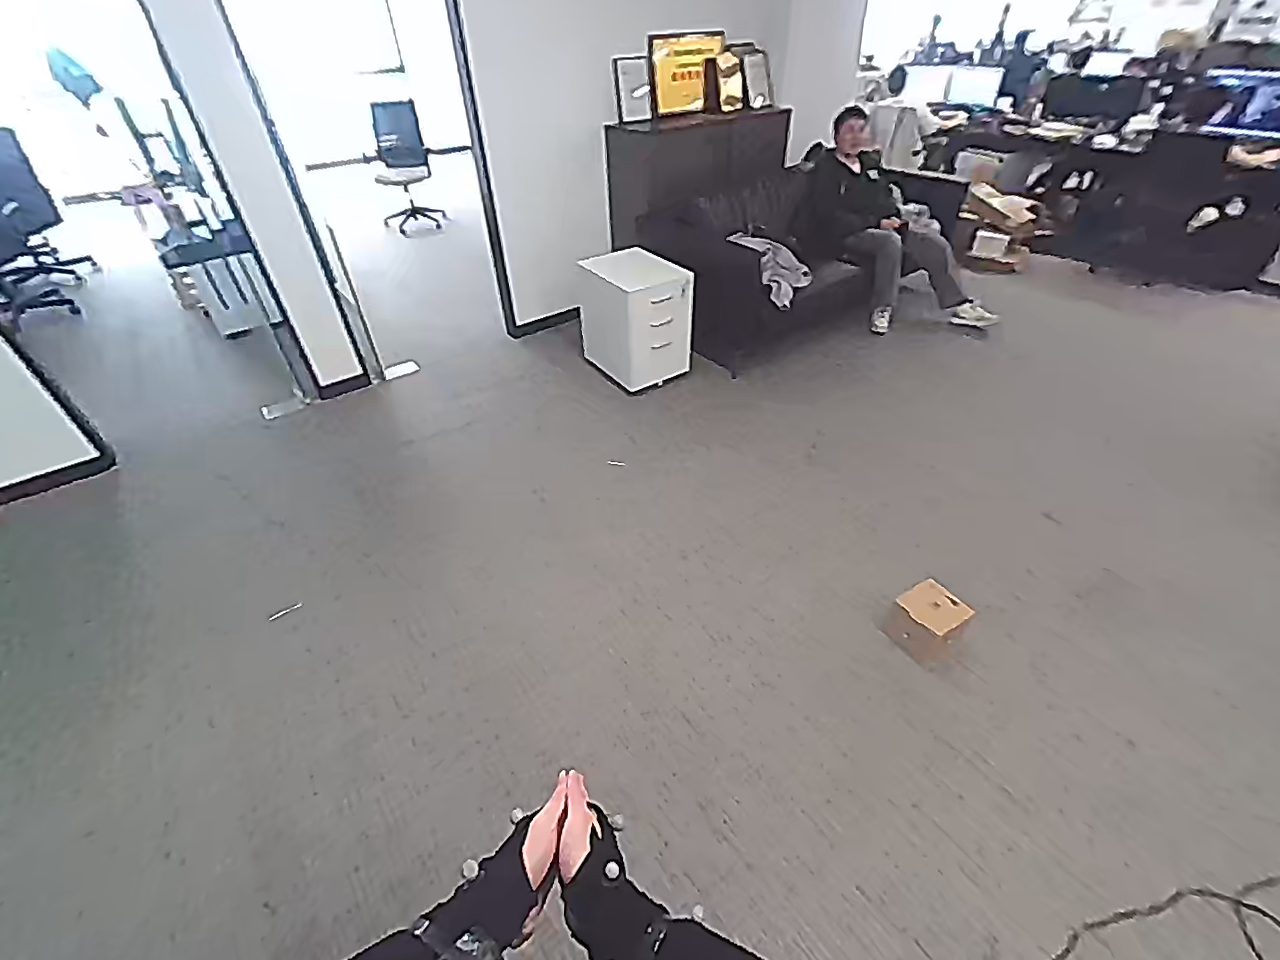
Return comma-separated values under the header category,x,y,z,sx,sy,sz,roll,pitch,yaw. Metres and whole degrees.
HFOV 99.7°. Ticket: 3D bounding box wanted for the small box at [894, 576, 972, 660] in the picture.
category,x,y,z,sx,sy,sz,roll,pitch,yaw
small box,0.937,0.445,1.739,0.179,0.176,0.168,19,42,25
